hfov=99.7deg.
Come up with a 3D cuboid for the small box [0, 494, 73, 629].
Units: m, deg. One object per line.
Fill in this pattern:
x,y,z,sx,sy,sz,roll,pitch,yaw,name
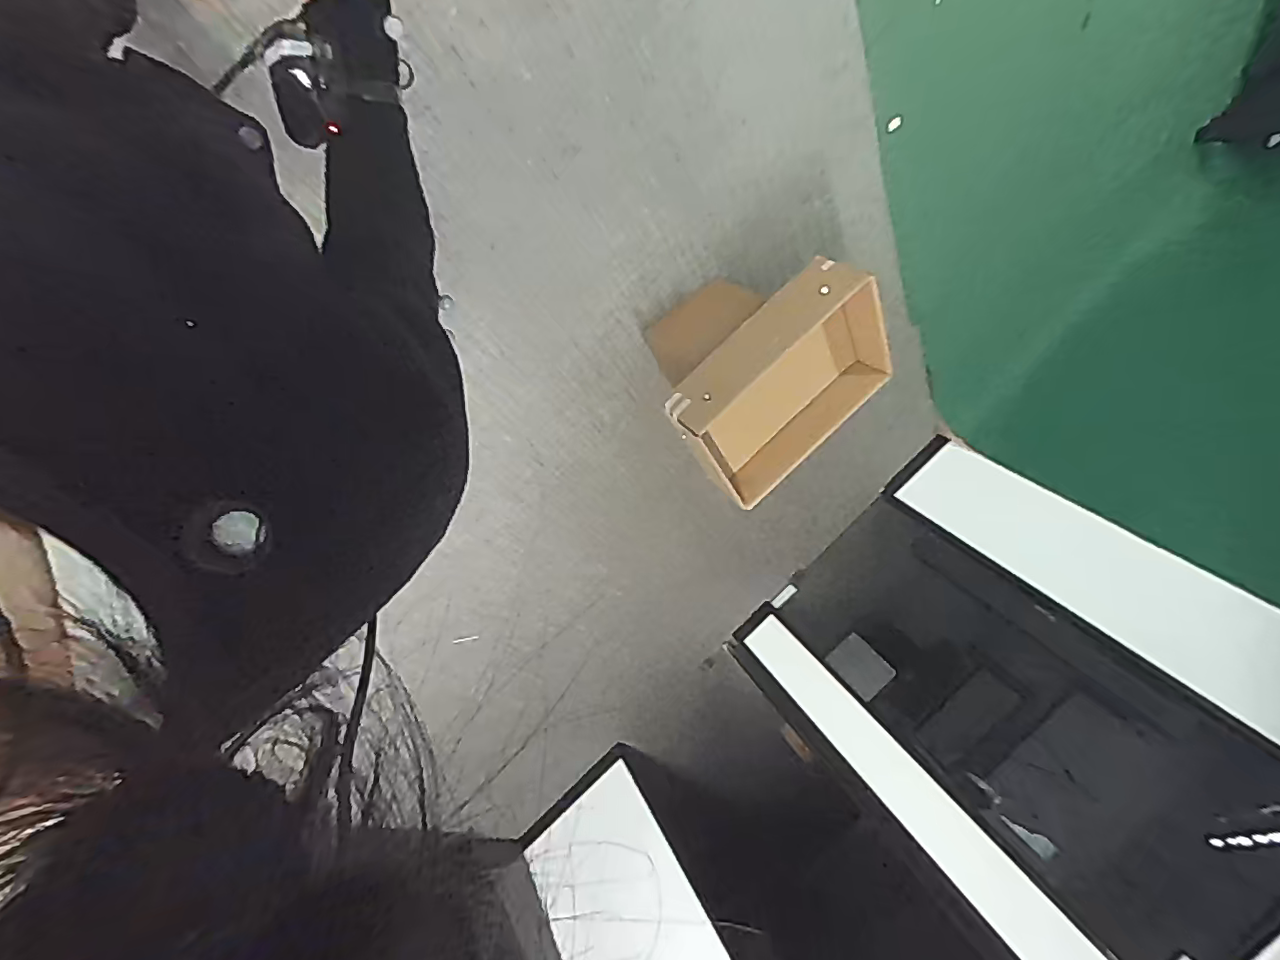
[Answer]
-1.220,0.152,1.003,0.179,0.176,0.168,-42,137,0,small box
